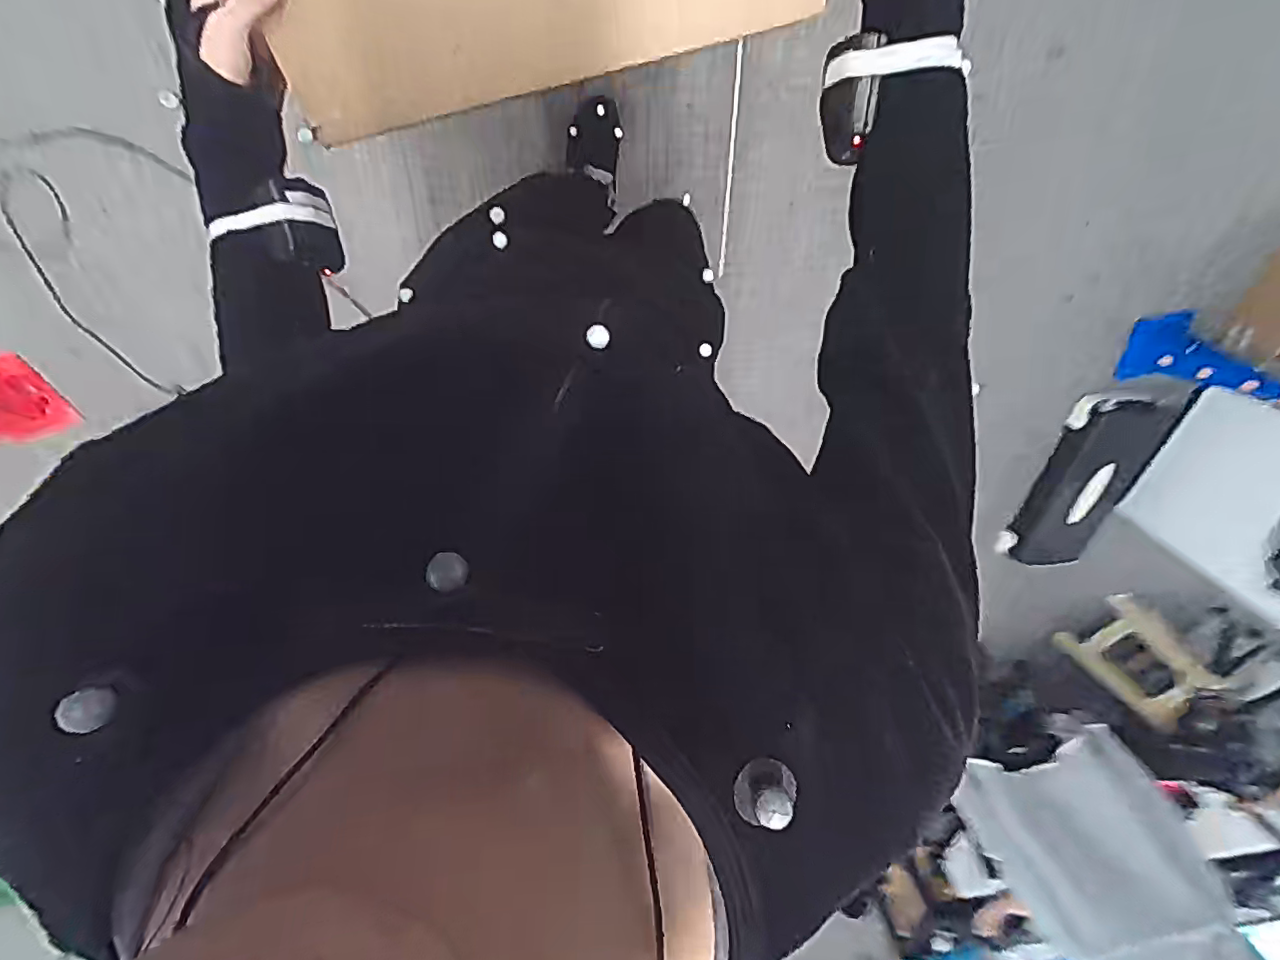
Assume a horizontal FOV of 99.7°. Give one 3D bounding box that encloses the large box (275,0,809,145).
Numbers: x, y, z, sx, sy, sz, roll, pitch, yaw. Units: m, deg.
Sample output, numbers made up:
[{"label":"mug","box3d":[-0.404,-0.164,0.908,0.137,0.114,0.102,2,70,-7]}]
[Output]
[{"label":"large box","box3d":[-0.086,-0.530,0.442,0.408,0.320,0.320,-8,130,11]}]
